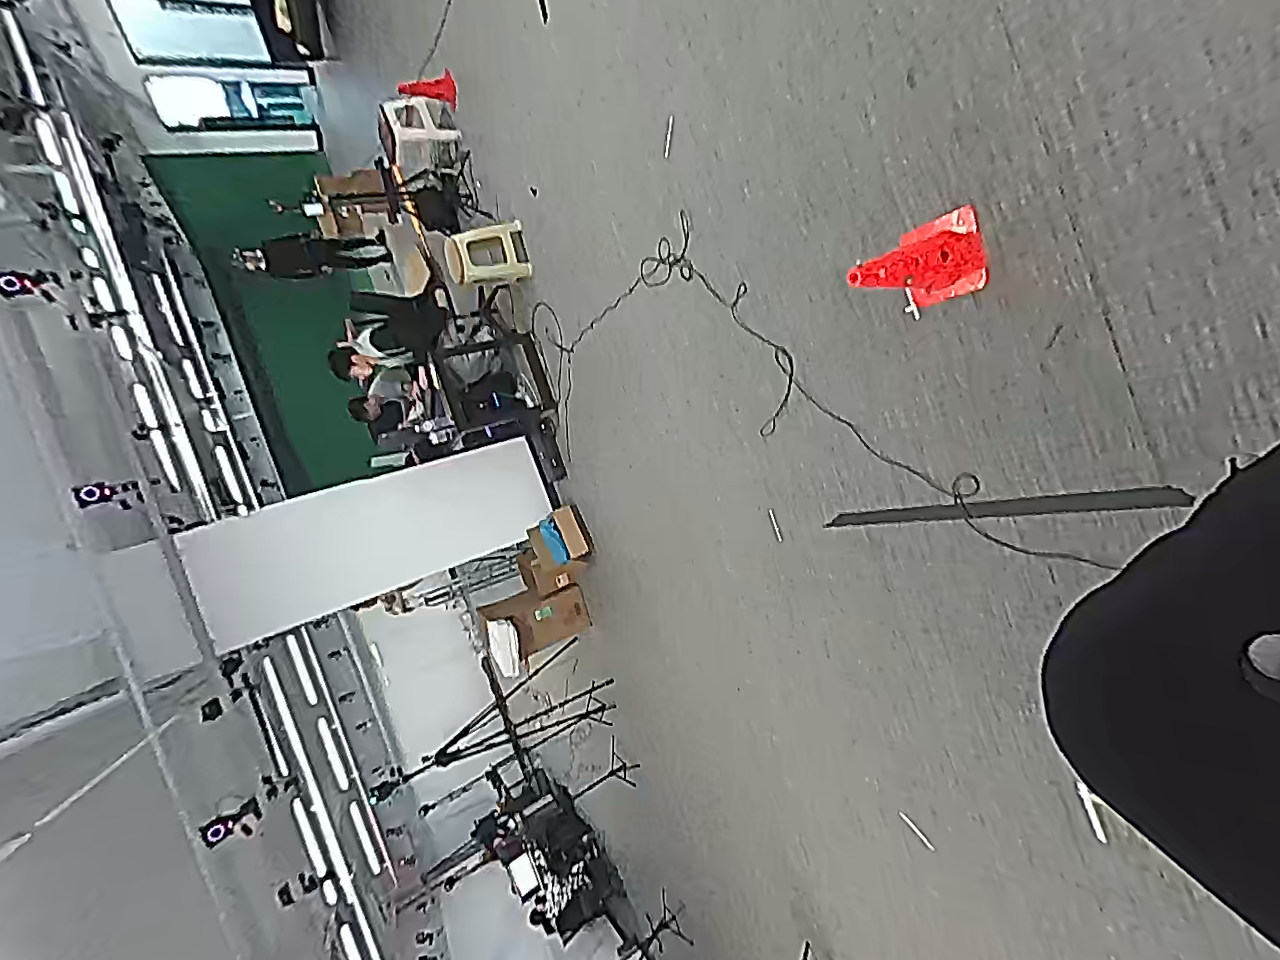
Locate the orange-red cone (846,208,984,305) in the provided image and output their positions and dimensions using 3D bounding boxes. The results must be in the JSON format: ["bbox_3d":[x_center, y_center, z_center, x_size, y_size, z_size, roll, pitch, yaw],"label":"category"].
[{"bbox_3d":[0.630,-0.516,1.311,0.199,0.360,0.198,-2,107,60],"label":"orange-red cone"}]
